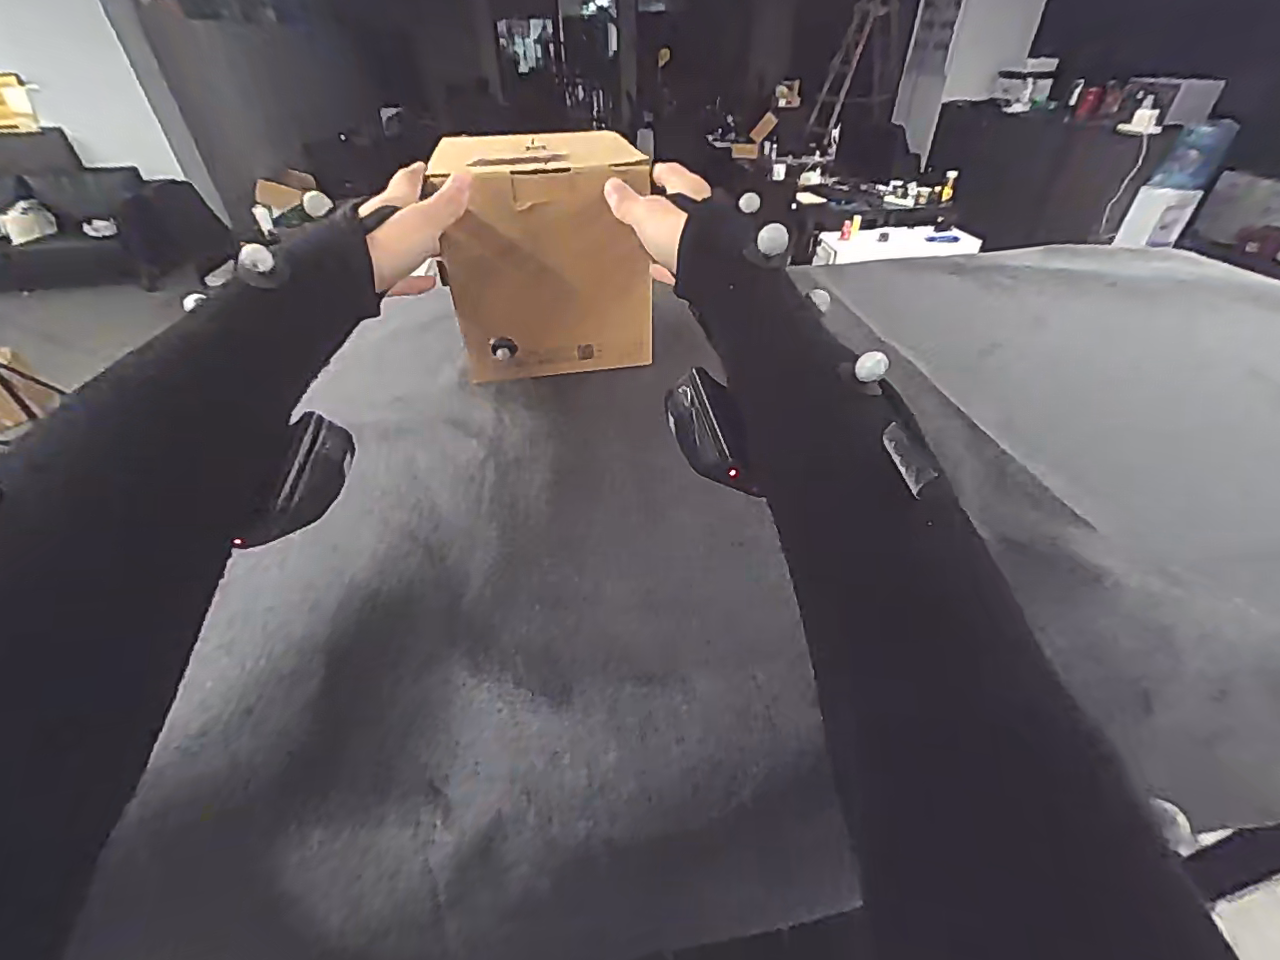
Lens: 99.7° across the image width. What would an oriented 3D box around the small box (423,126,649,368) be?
[{"bbox_3d":[-0.085,-0.213,0.500,0.168,0.176,0.179,-7,40,-8],"label":"small box"}]
